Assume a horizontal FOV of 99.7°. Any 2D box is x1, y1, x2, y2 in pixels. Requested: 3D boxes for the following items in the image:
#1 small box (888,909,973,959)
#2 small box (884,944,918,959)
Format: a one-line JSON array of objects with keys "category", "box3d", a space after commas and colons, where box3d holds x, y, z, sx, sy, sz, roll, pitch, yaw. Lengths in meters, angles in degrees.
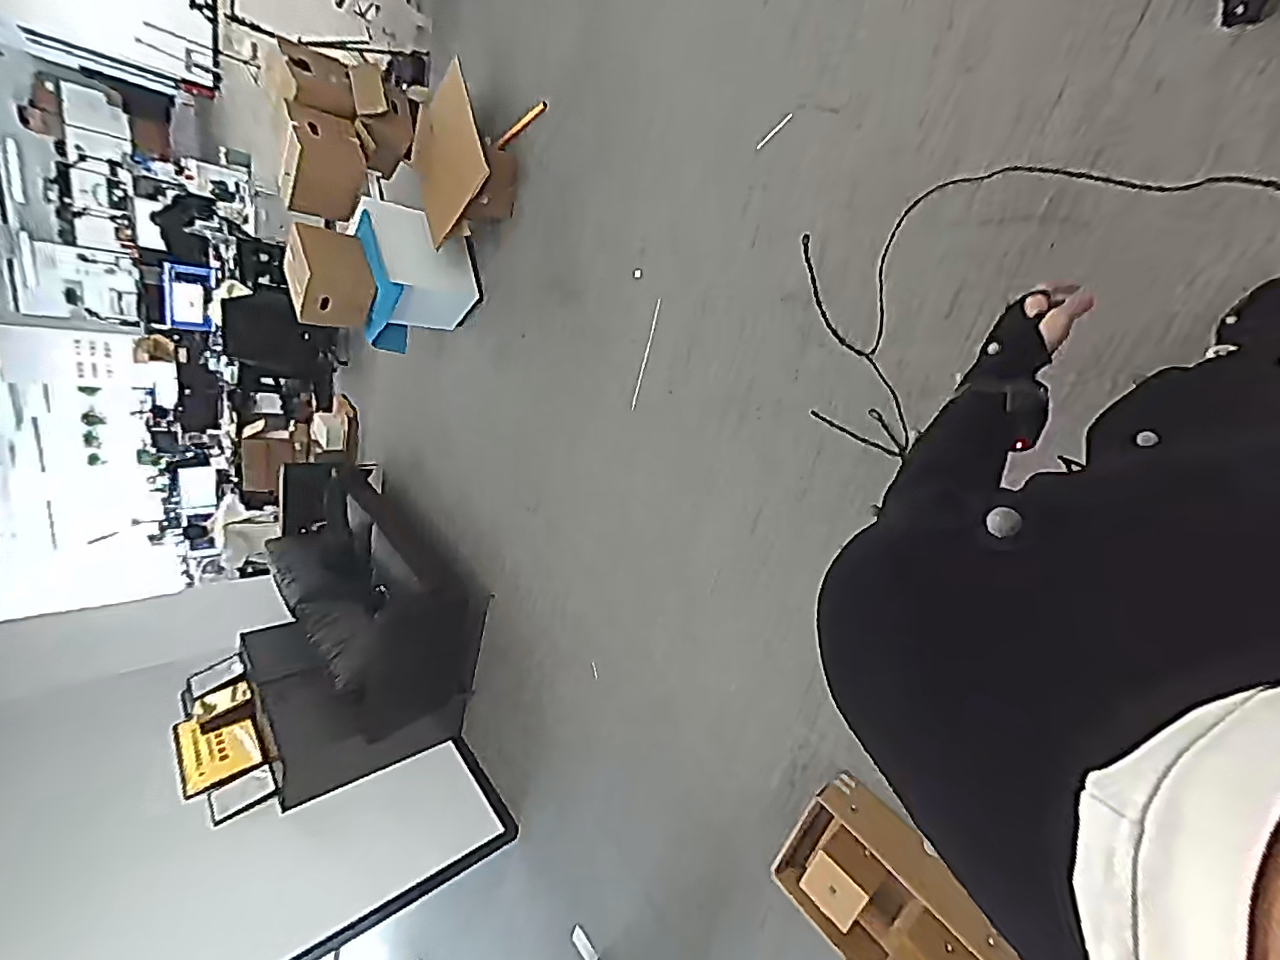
[{"category": "small box", "box3d": [0.794, 1.348, 1.493, 0.168, 0.176, 0.179, 36, 119, 39]}, {"category": "small box", "box3d": [0.674, 1.356, 1.383, 0.168, 0.176, 0.179, 34, 117, 39]}]
